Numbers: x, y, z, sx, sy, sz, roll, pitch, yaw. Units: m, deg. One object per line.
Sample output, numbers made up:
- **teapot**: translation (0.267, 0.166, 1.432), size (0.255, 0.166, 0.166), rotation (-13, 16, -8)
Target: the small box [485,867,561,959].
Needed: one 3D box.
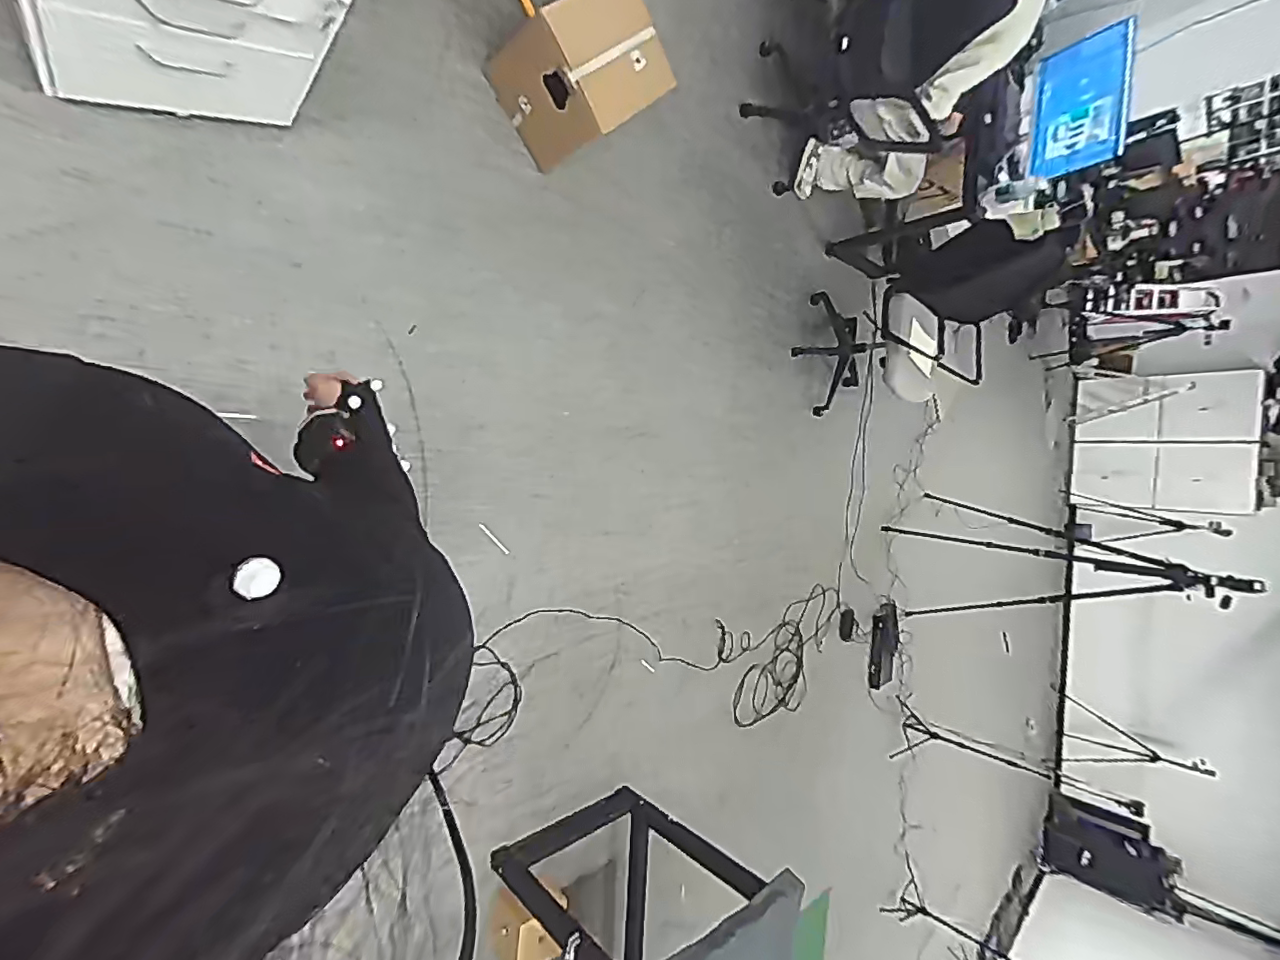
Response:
- **small box**: translation (-0.380, 1.399, 1.736), size (0.179, 0.176, 0.168), rotation (7, 87, -44)
